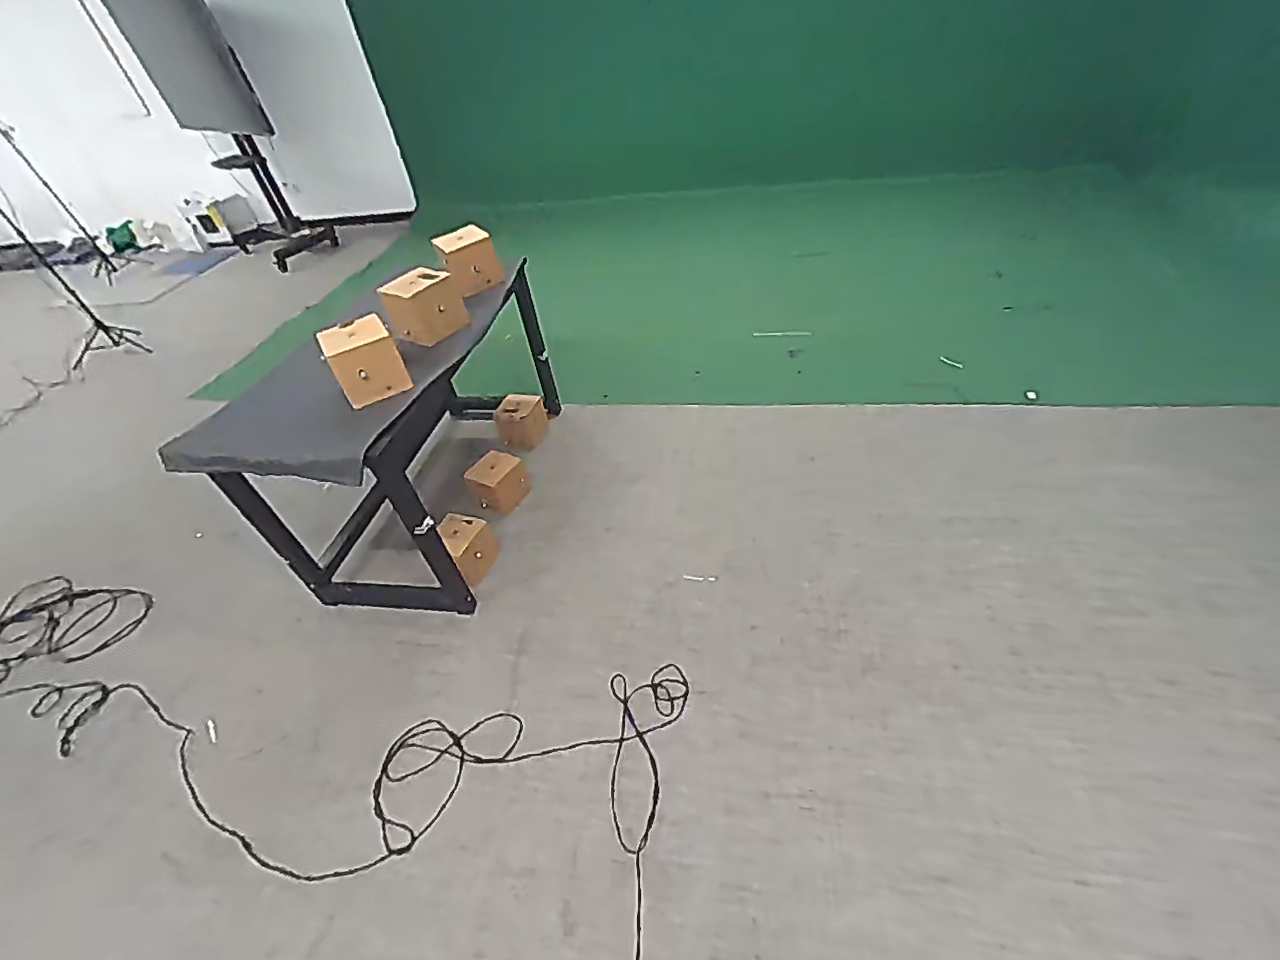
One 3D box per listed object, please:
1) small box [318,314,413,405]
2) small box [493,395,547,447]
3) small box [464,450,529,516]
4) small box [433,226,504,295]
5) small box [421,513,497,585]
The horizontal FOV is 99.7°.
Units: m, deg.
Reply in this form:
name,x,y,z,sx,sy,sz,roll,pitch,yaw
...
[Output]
name,x,y,z,sx,sy,sz,roll,pitch,yaw
small box,-0.751,-0.327,1.489,0.168,0.176,0.179,-28,46,-20
small box,-0.538,-0.267,2.464,0.168,0.176,0.179,6,44,15
small box,-0.566,0.012,2.170,0.168,0.176,0.179,16,50,26
small box,-0.616,-0.792,1.959,0.168,0.176,0.179,-31,47,-19
small box,-0.634,0.249,1.926,0.168,0.176,0.179,11,47,19
